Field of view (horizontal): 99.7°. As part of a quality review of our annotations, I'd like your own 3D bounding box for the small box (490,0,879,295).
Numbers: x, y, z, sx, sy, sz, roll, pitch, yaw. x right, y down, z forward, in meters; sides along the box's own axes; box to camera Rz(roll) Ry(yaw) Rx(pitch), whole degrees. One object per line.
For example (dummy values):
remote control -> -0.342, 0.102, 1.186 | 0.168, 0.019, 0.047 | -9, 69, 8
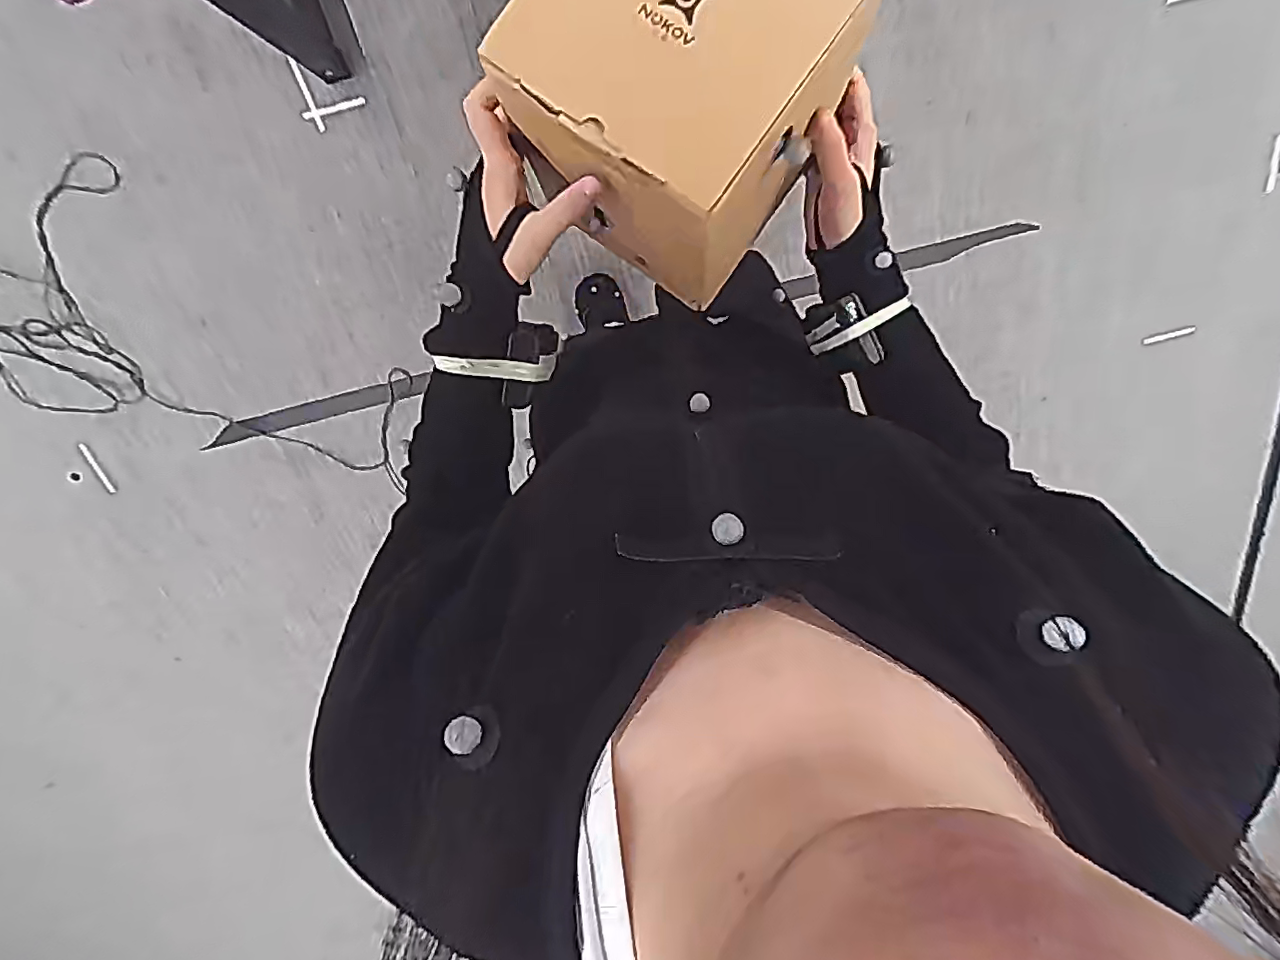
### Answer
small box -> 0.032, -0.267, 0.380 | 0.168, 0.176, 0.179 | 35, 93, 4
